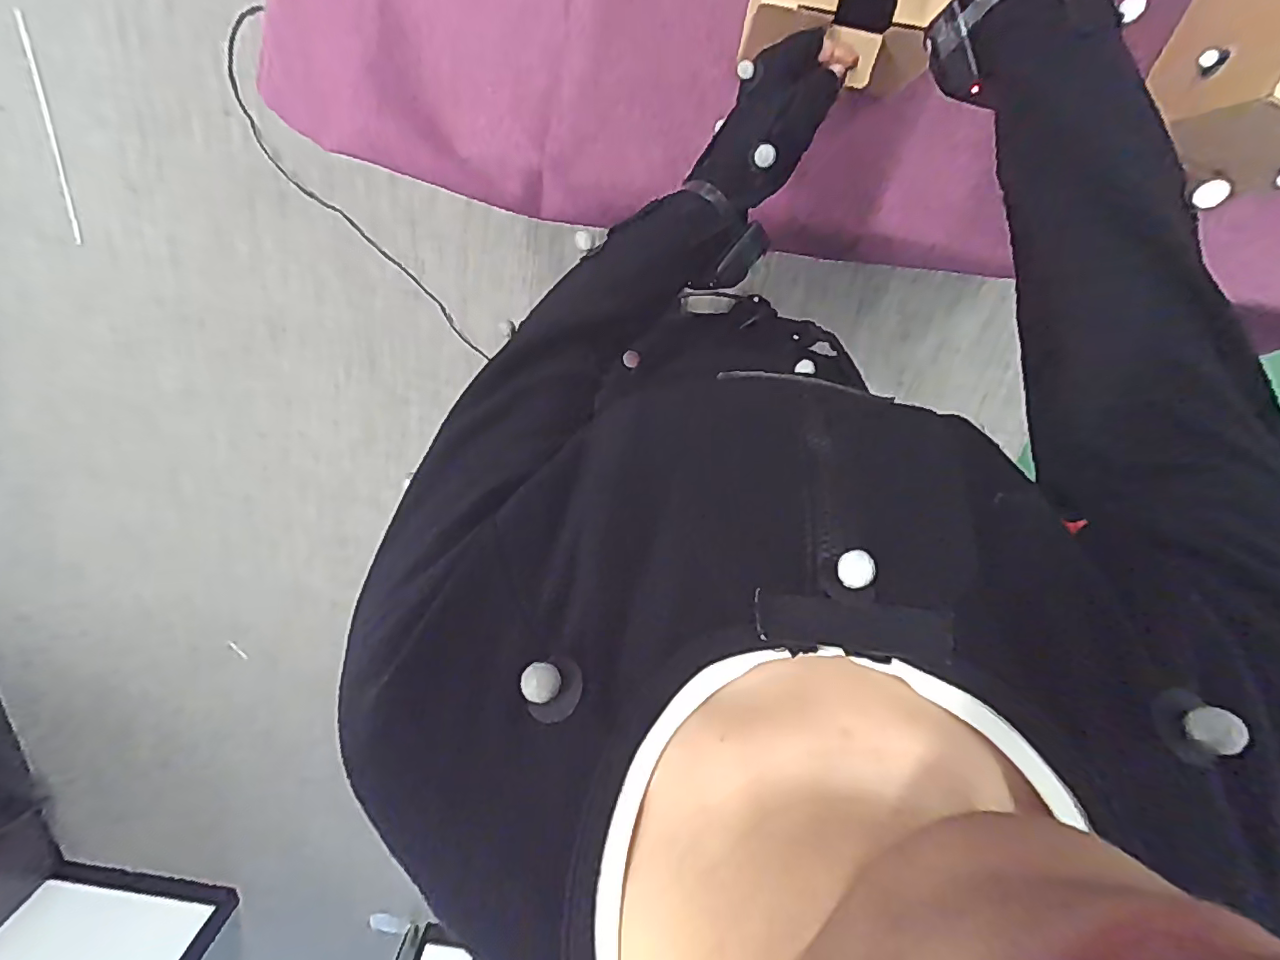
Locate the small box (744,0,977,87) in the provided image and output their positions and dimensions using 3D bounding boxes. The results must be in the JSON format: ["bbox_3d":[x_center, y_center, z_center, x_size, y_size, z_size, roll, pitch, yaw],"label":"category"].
[{"bbox_3d":[0.189,-0.459,0.451,0.168,0.176,0.179,10,114,0],"label":"small box"}]

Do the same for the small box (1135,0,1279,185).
[{"bbox_3d":[0.586,-0.371,0.454,0.168,0.176,0.179,19,113,-4],"label":"small box"}]
